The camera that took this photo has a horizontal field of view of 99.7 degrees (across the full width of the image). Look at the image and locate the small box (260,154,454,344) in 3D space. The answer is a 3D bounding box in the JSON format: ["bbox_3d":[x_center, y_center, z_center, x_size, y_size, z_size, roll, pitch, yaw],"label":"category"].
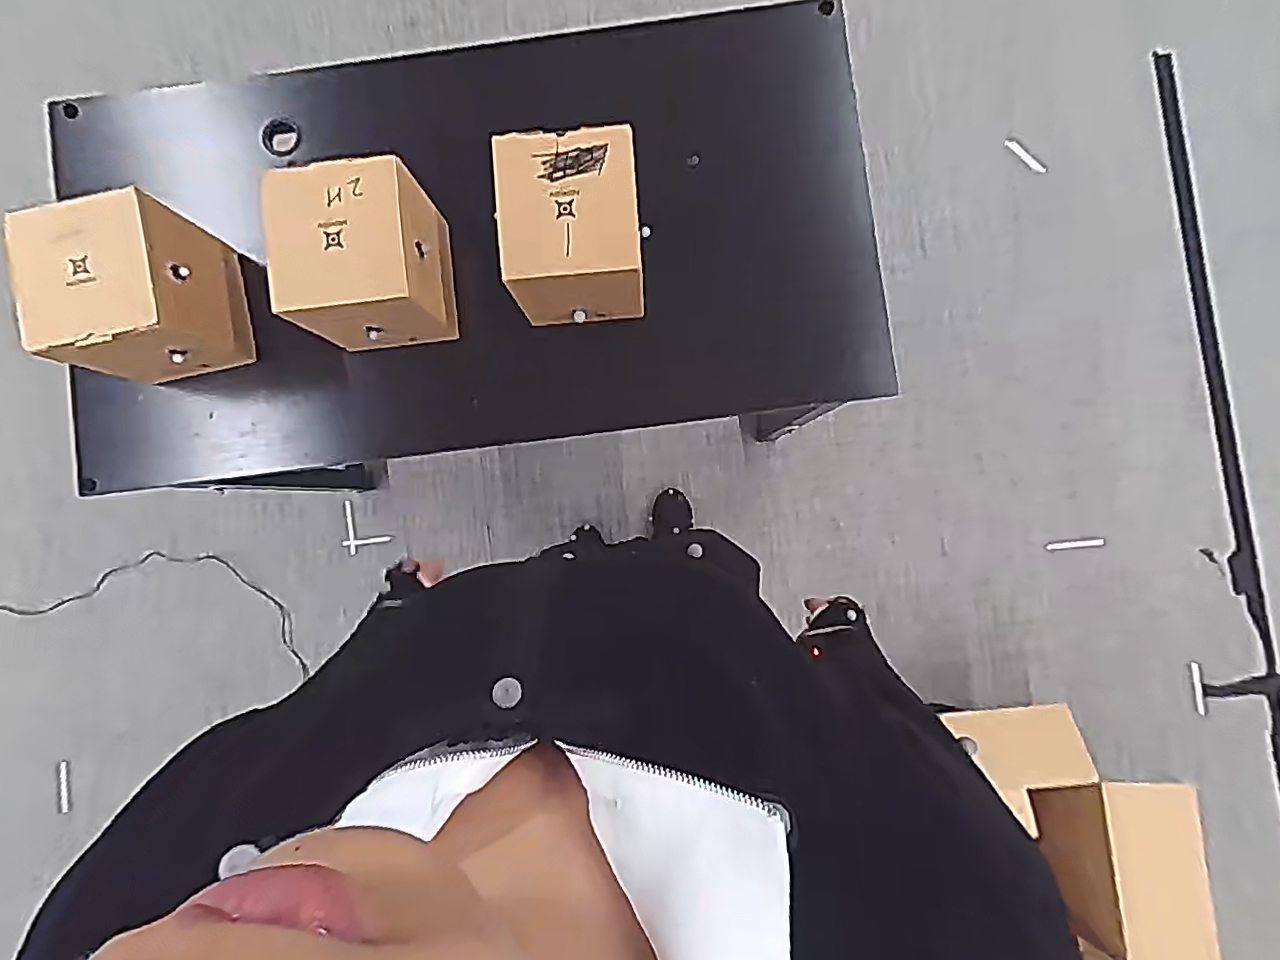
[{"bbox_3d":[-0.359,-0.288,0.715,0.168,0.176,0.179,-6,87,0],"label":"small box"}]

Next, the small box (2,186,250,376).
[{"bbox_3d":[-0.664,-0.248,0.721,0.168,0.176,0.179,-12,87,-1],"label":"small box"}]

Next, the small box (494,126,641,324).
[{"bbox_3d":[-0.086,-0.322,0.711,0.168,0.176,0.179,-4,88,1],"label":"small box"}]
